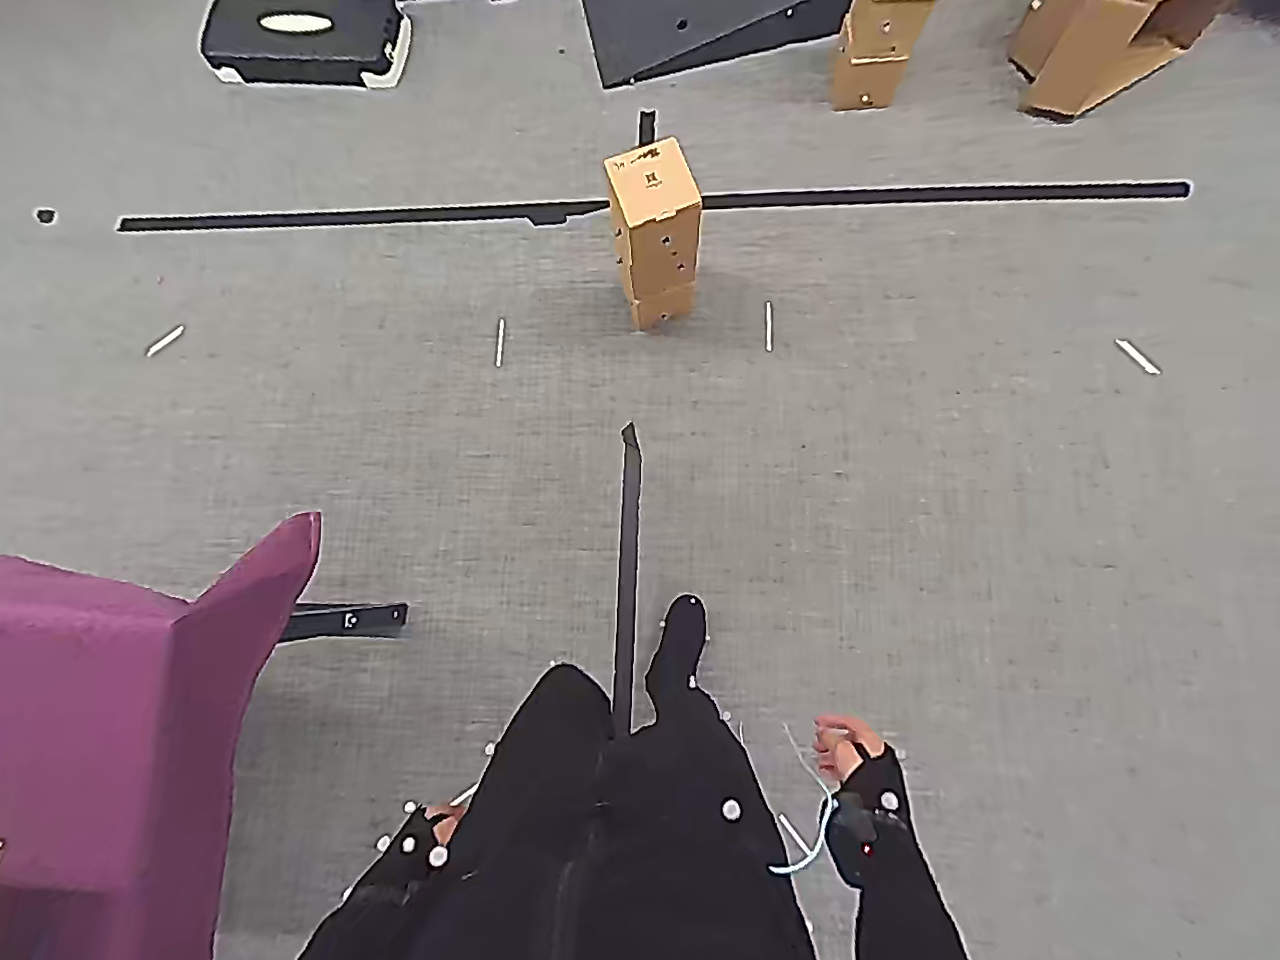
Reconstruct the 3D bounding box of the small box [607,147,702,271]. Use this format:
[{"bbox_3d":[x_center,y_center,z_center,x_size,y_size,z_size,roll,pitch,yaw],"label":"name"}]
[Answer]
[{"bbox_3d":[0.035,-0.603,1.233,0.168,0.176,0.179,-19,79,-1],"label":"small box"}]
